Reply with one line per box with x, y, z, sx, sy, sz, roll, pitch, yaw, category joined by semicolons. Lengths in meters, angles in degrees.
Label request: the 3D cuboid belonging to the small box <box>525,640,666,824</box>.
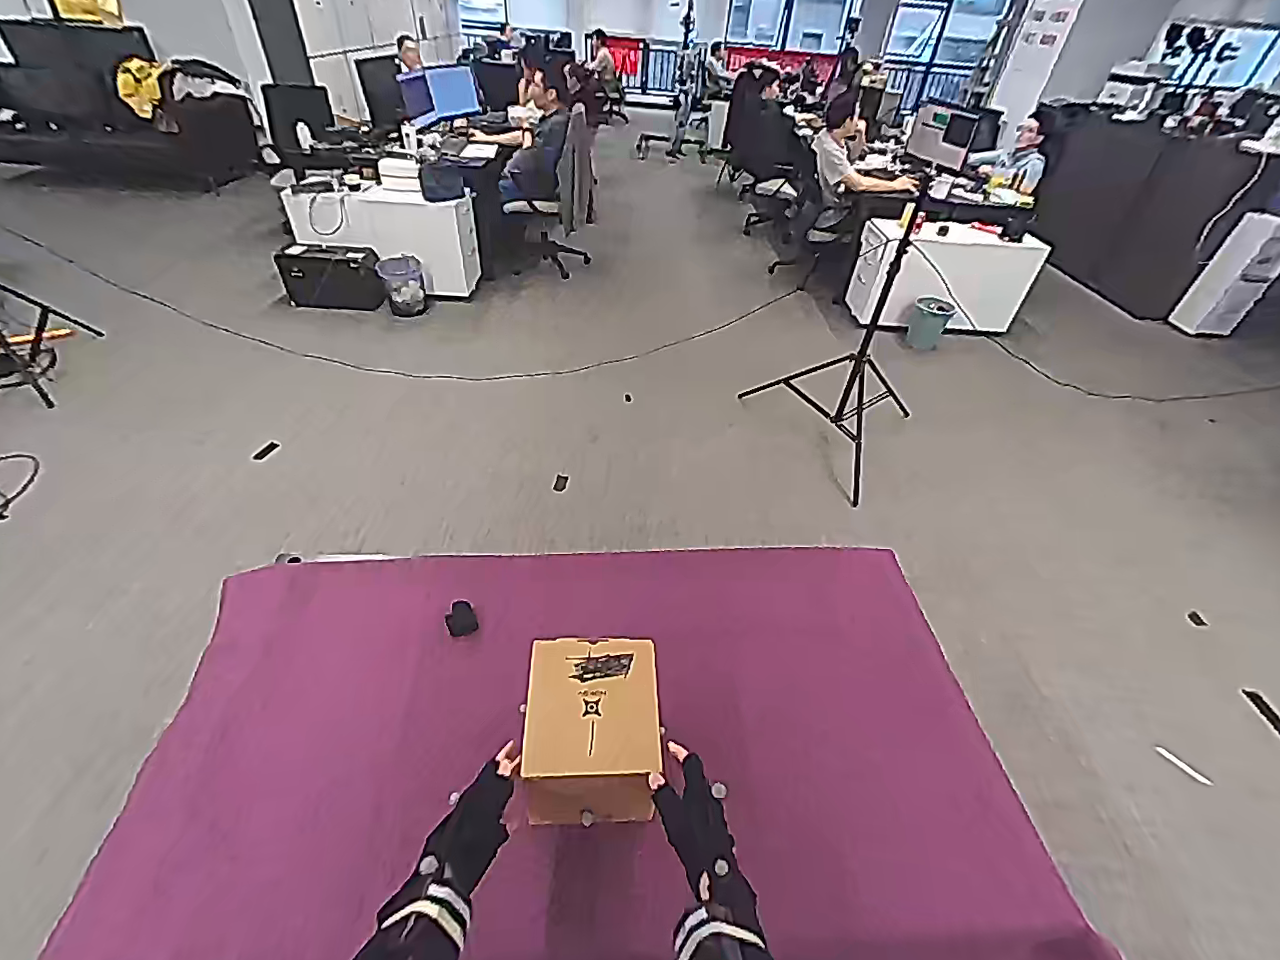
-0.060;0.339;0.733;0.168;0.176;0.179;1;41;-4;small box
